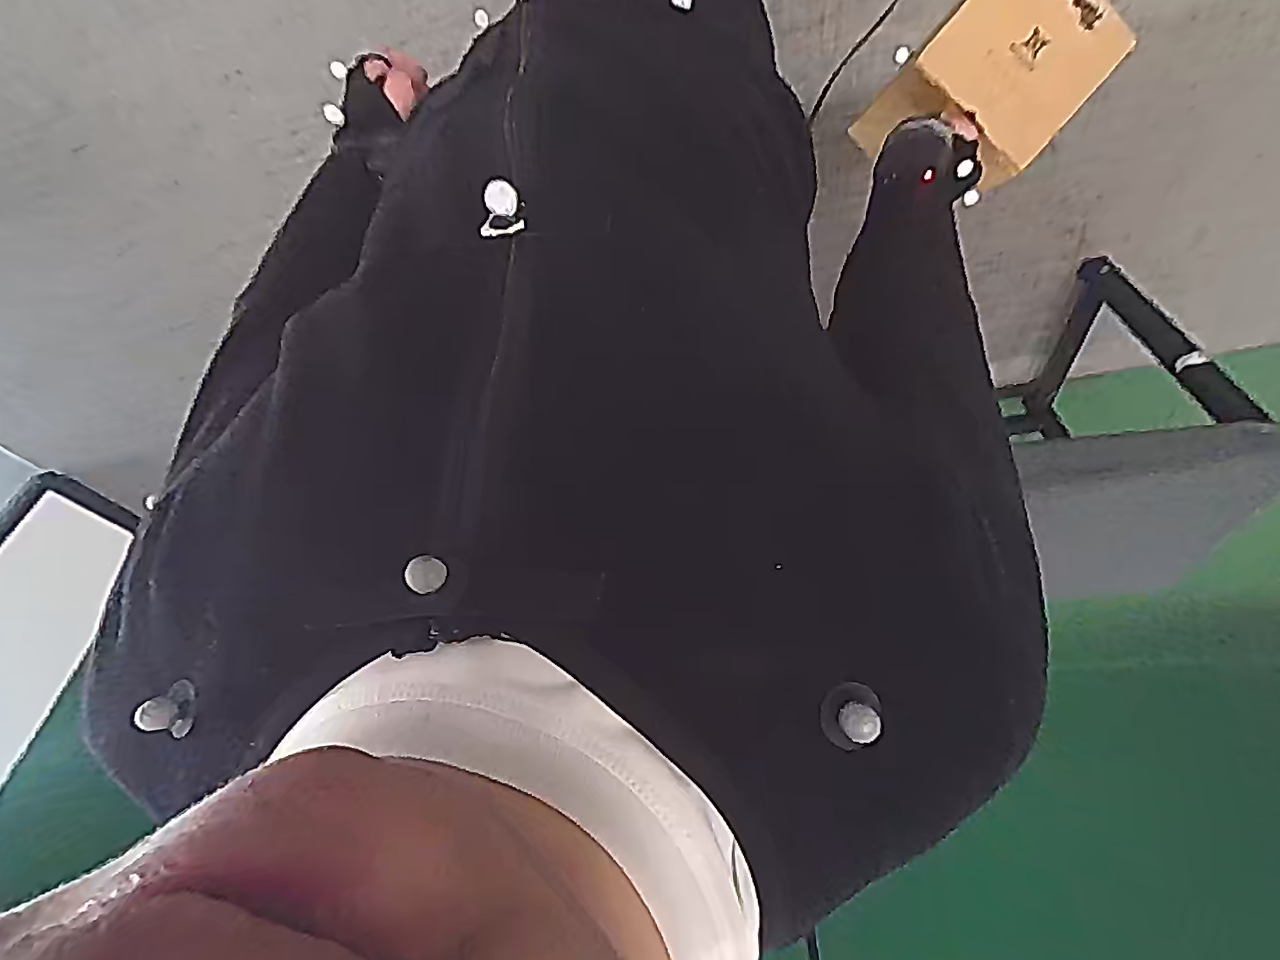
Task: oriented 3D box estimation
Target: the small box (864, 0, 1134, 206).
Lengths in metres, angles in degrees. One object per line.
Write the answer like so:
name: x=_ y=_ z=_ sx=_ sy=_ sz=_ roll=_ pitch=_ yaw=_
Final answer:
small box: x=0.394 y=-0.462 z=0.636 sx=0.168 sy=0.176 sz=0.179 roll=41 pitch=96 yaw=-11
